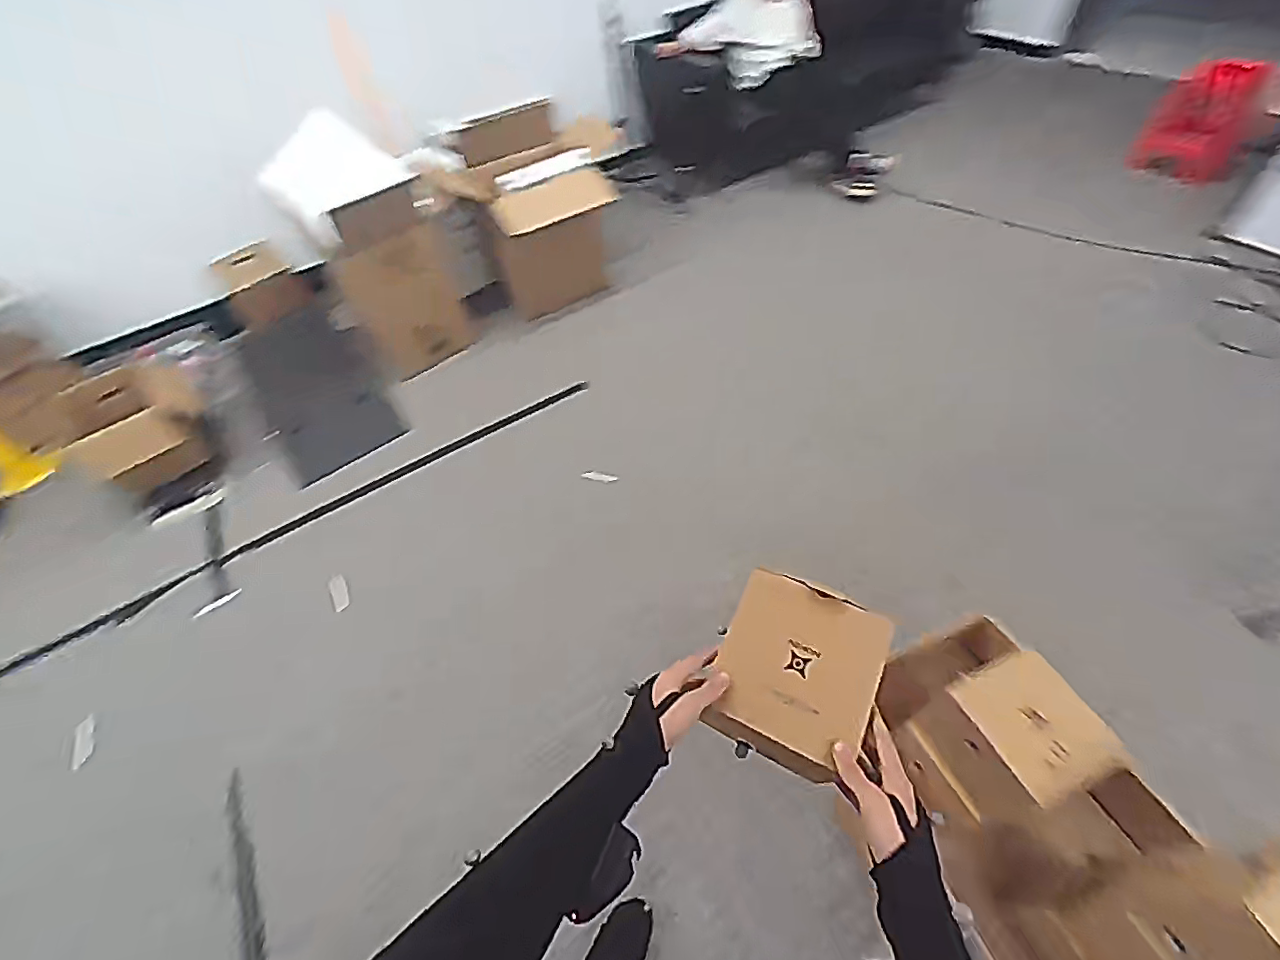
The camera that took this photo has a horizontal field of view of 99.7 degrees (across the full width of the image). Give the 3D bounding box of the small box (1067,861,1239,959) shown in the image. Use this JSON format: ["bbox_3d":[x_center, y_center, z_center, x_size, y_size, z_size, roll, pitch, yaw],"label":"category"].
[{"bbox_3d":[0.690,0.600,0.657,0.168,0.176,0.179,-22,53,-11],"label":"small box"}]

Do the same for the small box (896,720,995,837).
[{"bbox_3d":[0.586,0.505,0.961,0.179,0.176,0.168,-21,53,-11],"label":"small box"}]

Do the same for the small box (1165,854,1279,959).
[{"bbox_3d":[0.689,0.491,0.532,0.179,0.176,0.168,-19,52,-9],"label":"small box"}]

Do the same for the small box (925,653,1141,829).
[{"bbox_3d":[0.581,0.402,0.831,0.168,0.176,0.179,-20,53,-10],"label":"small box"}]
